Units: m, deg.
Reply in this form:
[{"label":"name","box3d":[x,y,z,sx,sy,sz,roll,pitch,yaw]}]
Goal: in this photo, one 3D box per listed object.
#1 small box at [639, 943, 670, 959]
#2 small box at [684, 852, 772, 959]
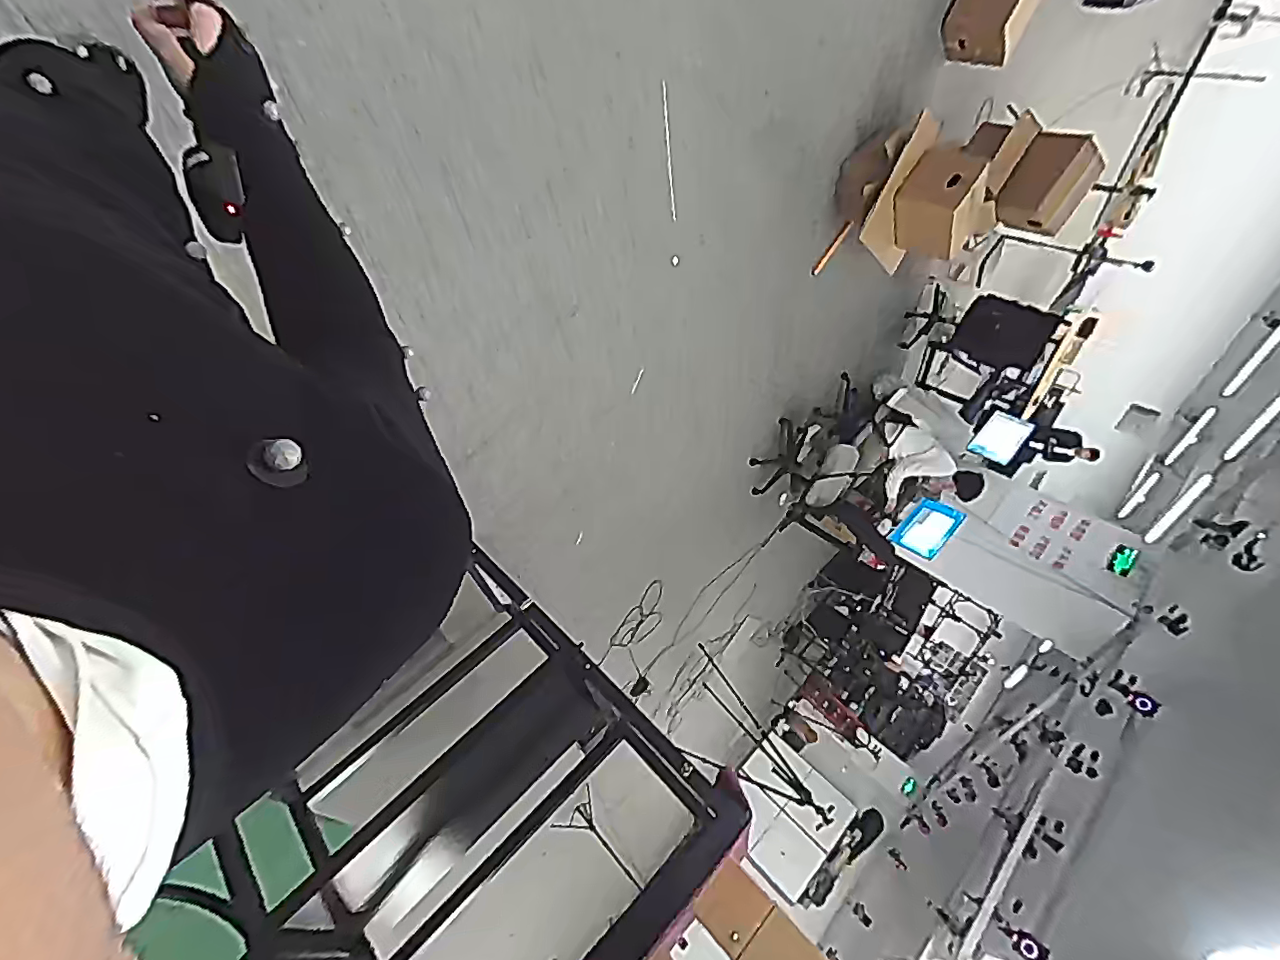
[{"label":"small box","box3d":[0.037,1.343,1.390,0.179,0.176,0.168,-37,143,-25]},{"label":"small box","box3d":[0.239,1.177,1.496,0.179,0.176,0.168,-37,144,-23]}]
